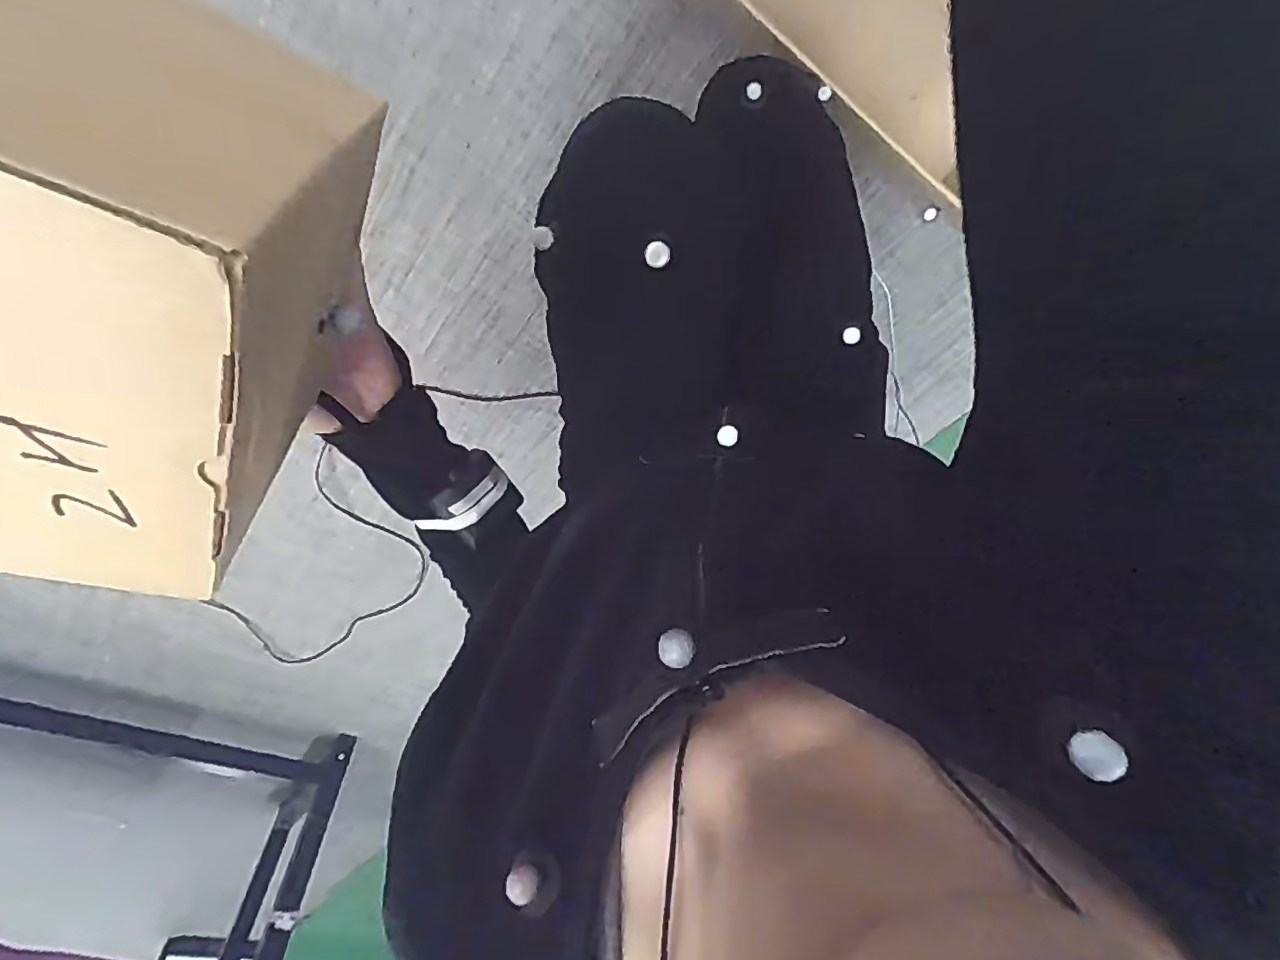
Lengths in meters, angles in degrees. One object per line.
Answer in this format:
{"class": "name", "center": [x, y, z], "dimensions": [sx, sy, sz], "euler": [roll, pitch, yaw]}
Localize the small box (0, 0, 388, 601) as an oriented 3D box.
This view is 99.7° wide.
{"class": "small box", "center": [-0.223, -0.082, 0.209], "dimensions": [0.179, 0.176, 0.168], "euler": [19, 130, -26]}
